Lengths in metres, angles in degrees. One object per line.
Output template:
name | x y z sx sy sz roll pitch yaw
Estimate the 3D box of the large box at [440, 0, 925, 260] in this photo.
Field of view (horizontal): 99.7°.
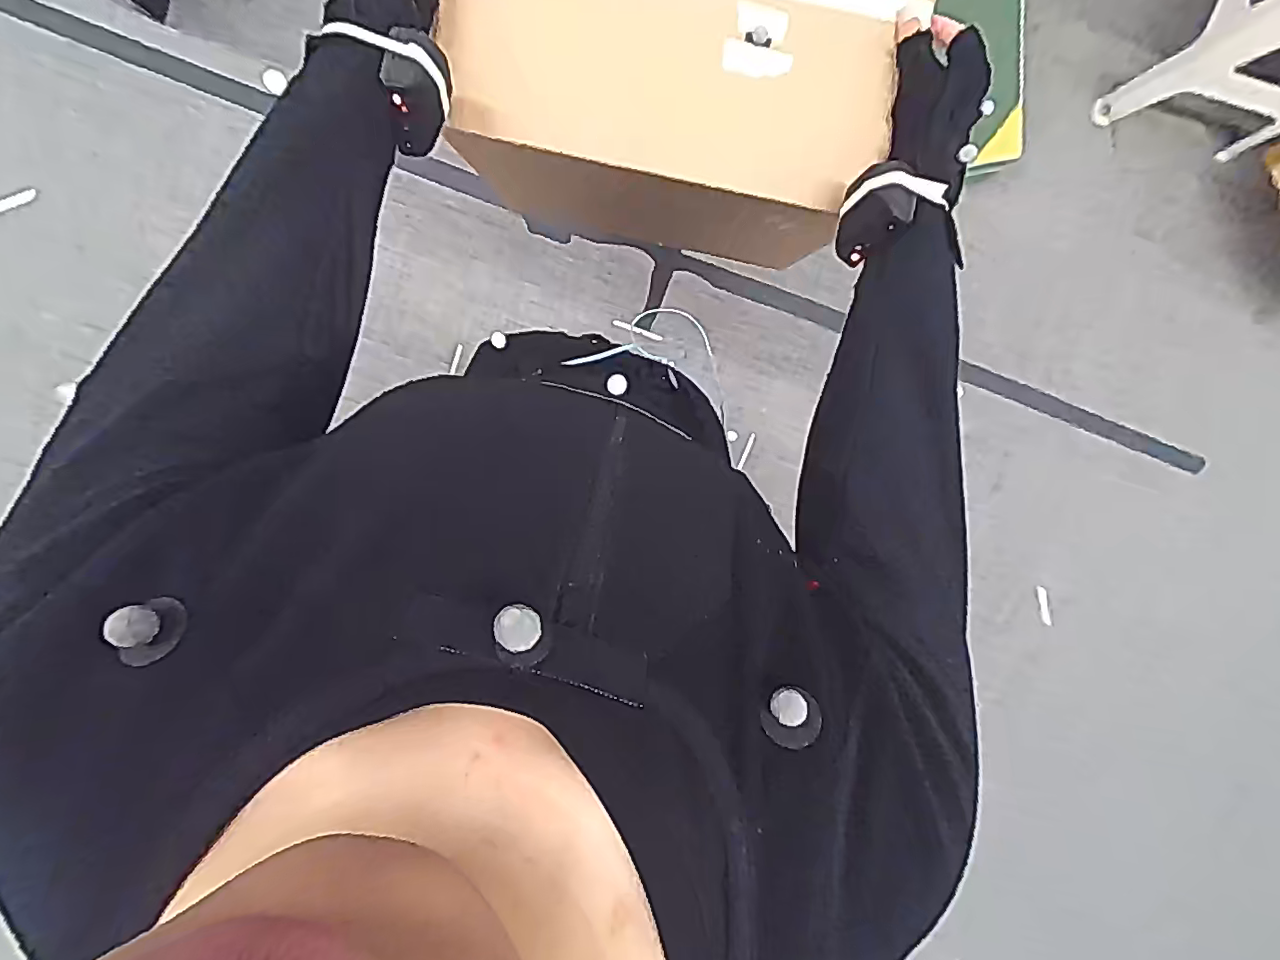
large box | 0.041 -0.461 0.595 0.408 0.320 0.320 11 104 -3
